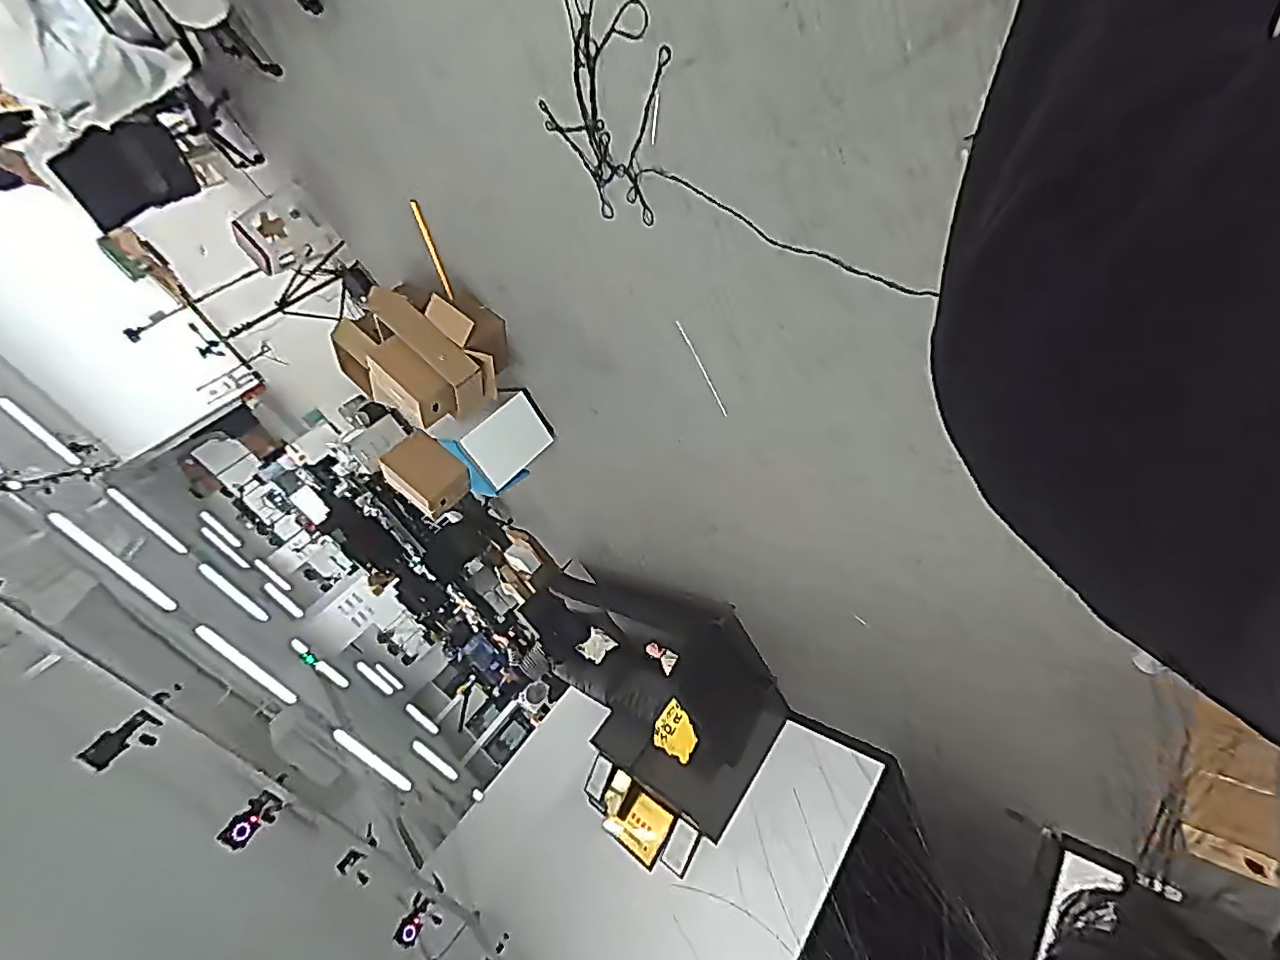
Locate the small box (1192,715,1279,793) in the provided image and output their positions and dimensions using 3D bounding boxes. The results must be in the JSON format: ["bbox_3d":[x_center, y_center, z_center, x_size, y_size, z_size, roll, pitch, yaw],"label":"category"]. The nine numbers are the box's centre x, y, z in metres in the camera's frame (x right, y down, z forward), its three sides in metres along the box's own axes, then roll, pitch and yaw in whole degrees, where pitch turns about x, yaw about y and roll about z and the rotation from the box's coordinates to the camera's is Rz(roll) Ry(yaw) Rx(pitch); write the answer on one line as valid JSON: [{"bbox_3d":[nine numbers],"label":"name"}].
[{"bbox_3d":[1.748,0.826,1.581,0.168,0.176,0.179,3,133,53],"label":"small box"}]

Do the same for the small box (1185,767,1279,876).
[{"bbox_3d":[1.656,0.939,1.504,0.179,0.176,0.168,4,134,52],"label":"small box"}]
